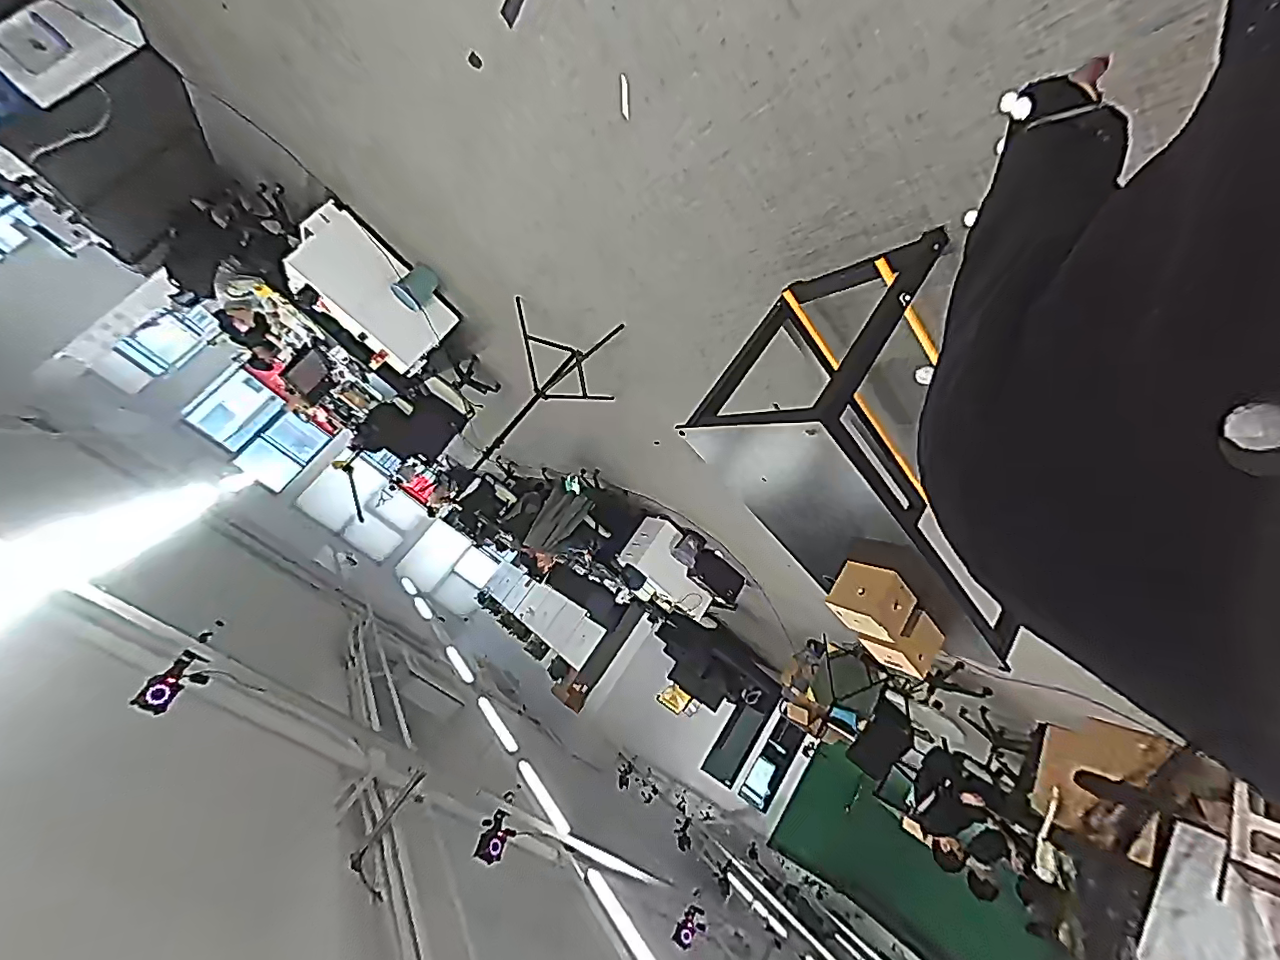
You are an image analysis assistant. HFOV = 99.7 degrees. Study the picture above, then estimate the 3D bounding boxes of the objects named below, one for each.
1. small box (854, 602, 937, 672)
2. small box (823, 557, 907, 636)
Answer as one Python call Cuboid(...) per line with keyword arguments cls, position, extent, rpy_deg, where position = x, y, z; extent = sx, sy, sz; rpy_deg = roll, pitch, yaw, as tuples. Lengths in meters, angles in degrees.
Cuboid(cls="small box", position=(0.876, 0.517, 1.845), extent=(0.179, 0.176, 0.168), rpy_deg=(45, 161, -26))
Cuboid(cls="small box", position=(0.731, 0.369, 1.739), extent=(0.168, 0.176, 0.179), rpy_deg=(45, 161, -26))
